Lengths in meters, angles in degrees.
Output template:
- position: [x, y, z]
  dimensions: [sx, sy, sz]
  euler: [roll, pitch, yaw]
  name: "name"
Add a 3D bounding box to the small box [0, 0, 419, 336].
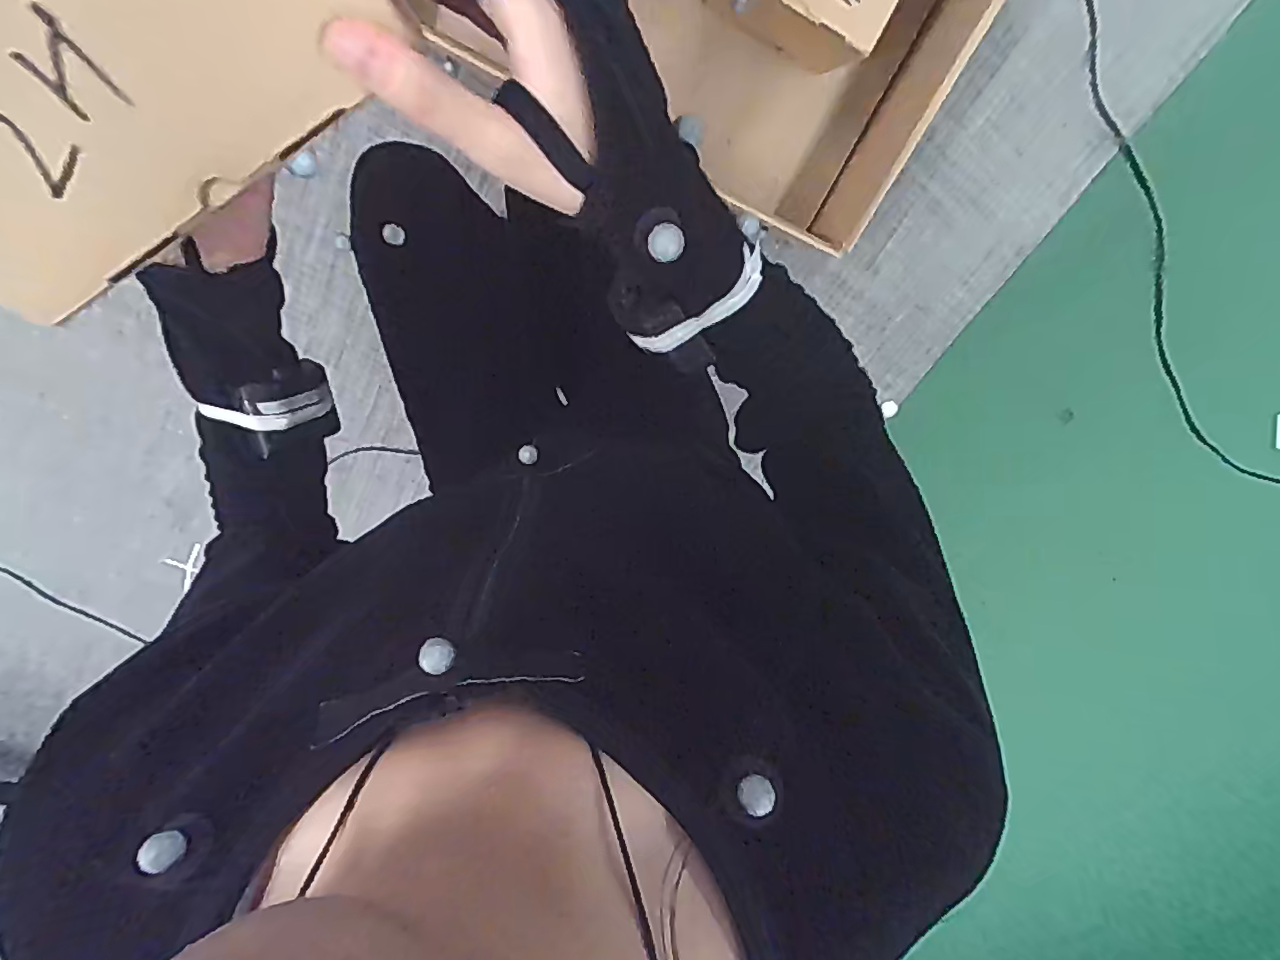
- position: [-0.205, -0.193, 0.192]
  dimensions: [0.168, 0.176, 0.179]
  euler: [-30, 135, 7]
  name: "small box"
